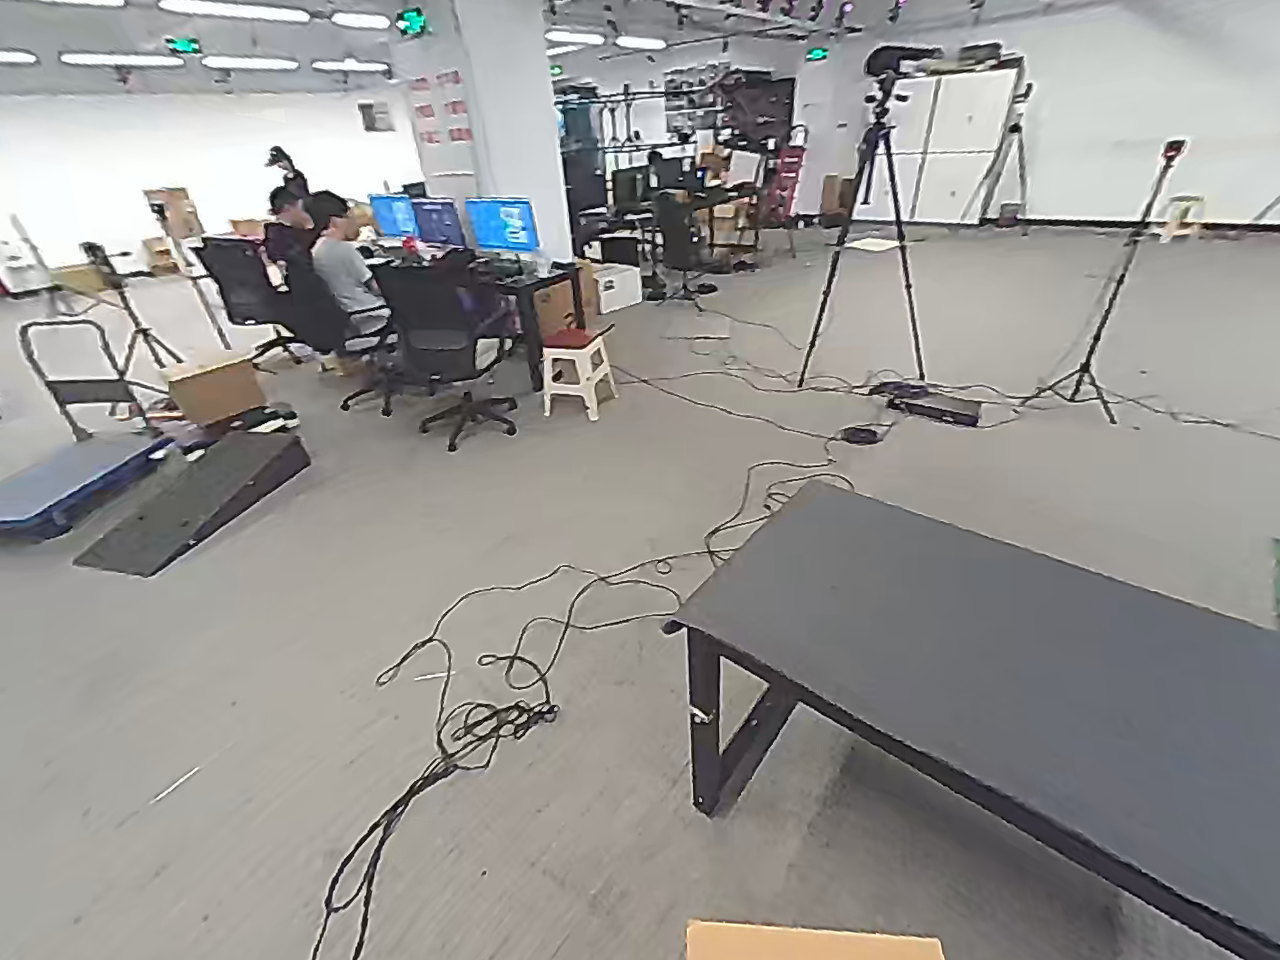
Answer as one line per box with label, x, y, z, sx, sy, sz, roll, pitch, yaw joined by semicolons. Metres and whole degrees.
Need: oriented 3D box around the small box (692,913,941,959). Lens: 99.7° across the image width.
small box;0.113;0.420;0.353;0.168;0.176;0.179;0;41;6
